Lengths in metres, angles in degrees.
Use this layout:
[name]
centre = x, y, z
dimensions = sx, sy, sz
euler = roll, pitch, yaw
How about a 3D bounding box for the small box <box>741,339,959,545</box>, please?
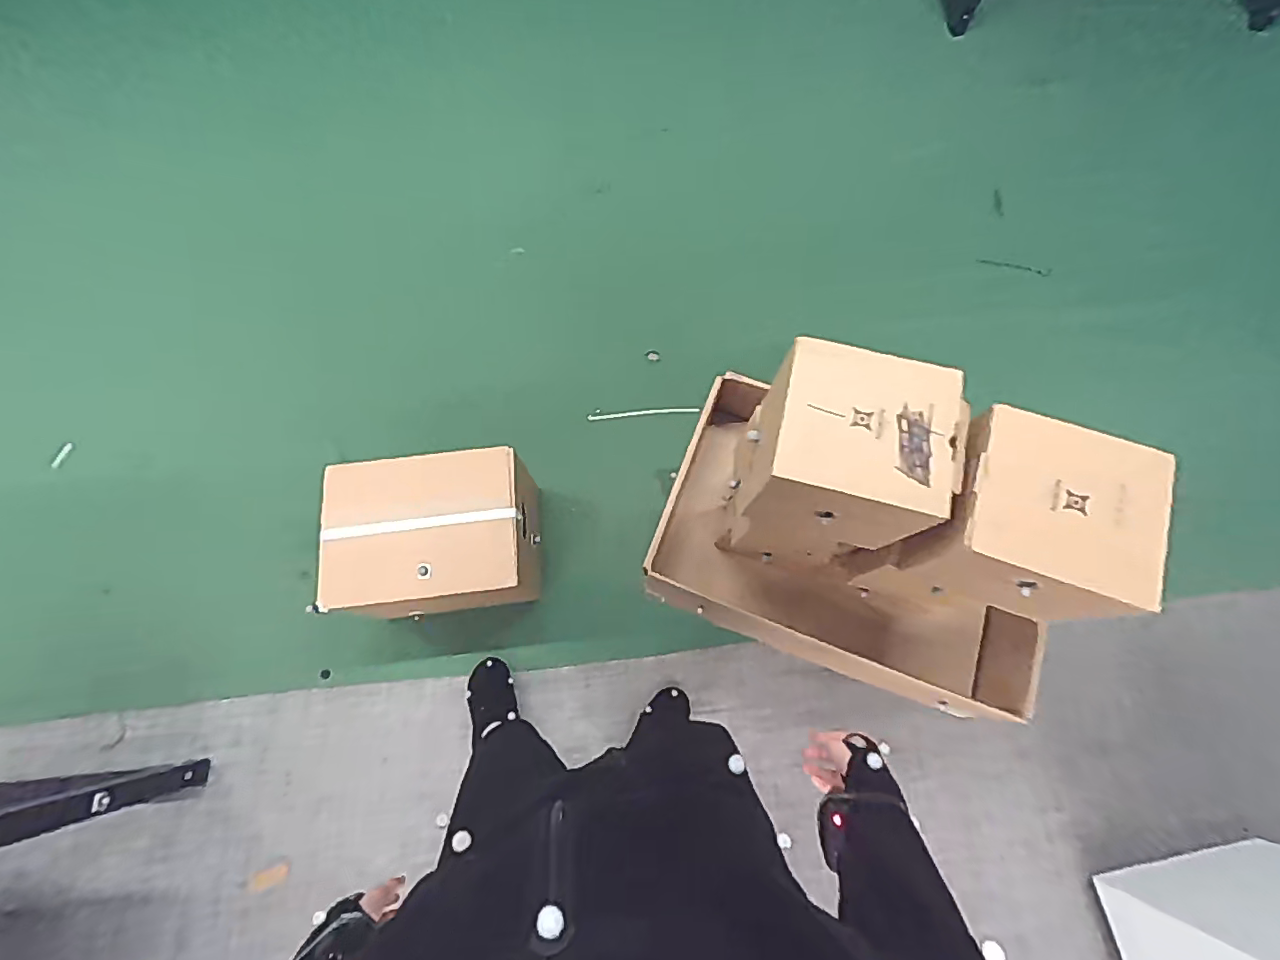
[small box]
centre = 0.229, -0.031, 0.624
dimensions = 0.179, 0.176, 0.168
euler = 14, 72, 5
